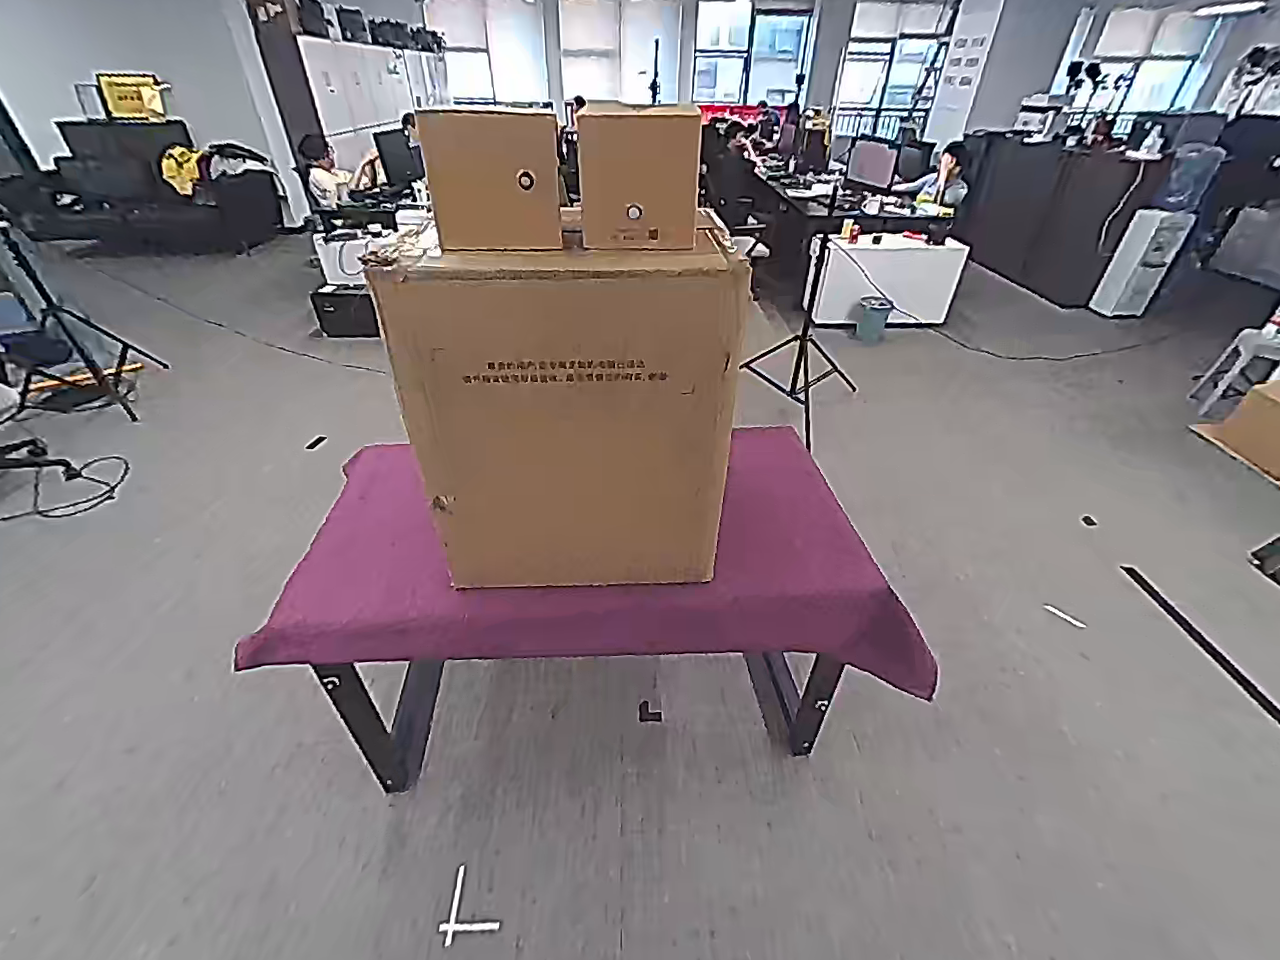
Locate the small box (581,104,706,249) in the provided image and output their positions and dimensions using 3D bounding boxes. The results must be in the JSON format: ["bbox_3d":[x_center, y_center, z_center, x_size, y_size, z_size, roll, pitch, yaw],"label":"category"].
[{"bbox_3d":[0.007,-0.457,0.809,0.168,0.176,0.179,1,37,2],"label":"small box"}]

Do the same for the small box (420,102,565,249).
[{"bbox_3d":[-0.201,-0.444,0.789,0.179,0.176,0.168,-4,36,-8],"label":"small box"}]
